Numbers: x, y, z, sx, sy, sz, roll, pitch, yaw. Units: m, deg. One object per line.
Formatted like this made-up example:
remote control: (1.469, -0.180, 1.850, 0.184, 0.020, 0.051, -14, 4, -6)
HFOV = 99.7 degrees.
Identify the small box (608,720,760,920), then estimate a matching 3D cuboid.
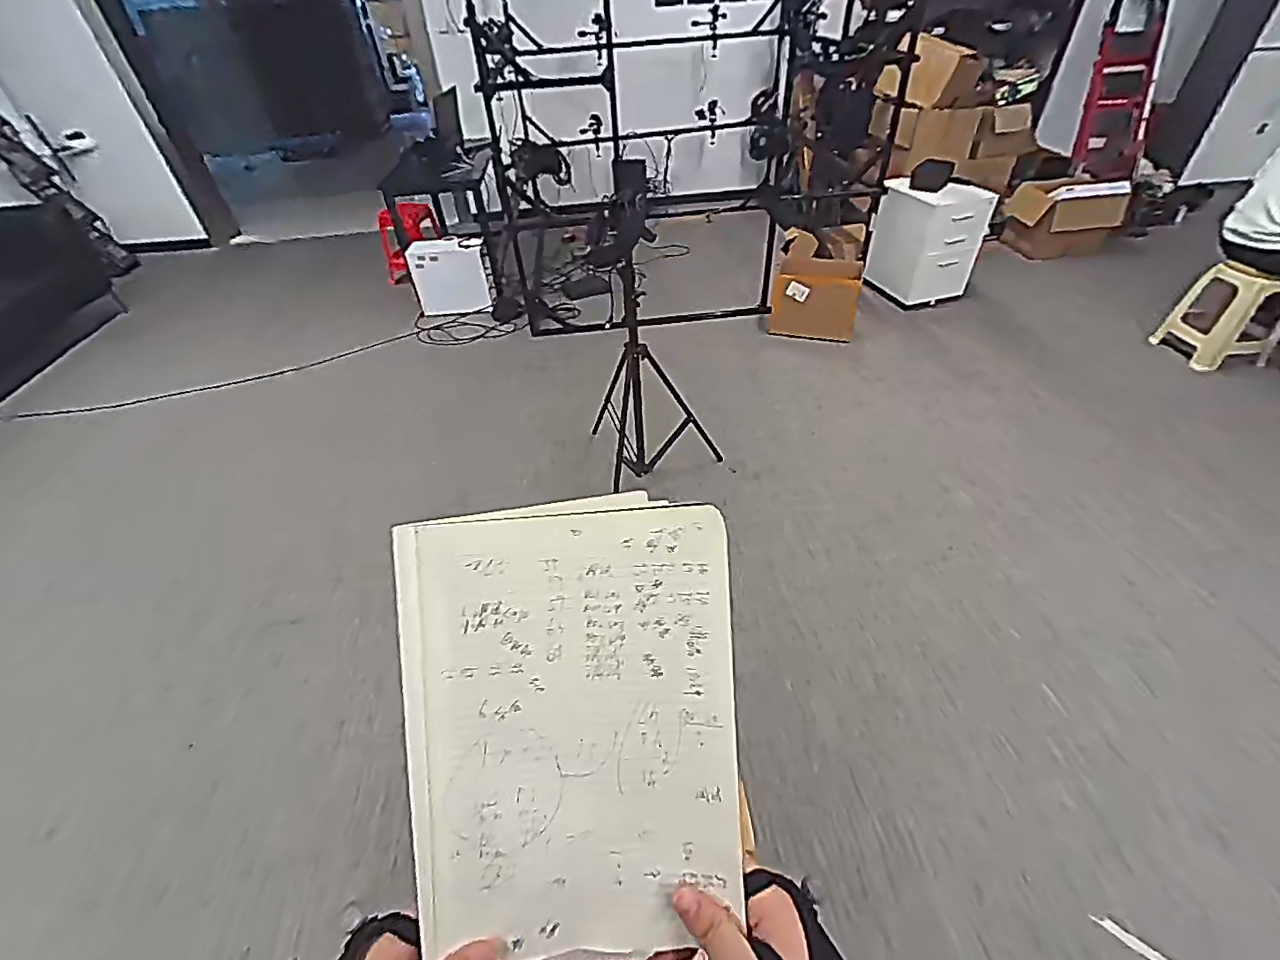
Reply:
small box: (0.045, 0.442, 0.707, 0.168, 0.176, 0.179, -4, 43, -4)

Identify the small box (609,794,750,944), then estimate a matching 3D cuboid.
small box: (0.050, 0.568, 0.812, 0.179, 0.176, 0.168, -7, 43, -5)
